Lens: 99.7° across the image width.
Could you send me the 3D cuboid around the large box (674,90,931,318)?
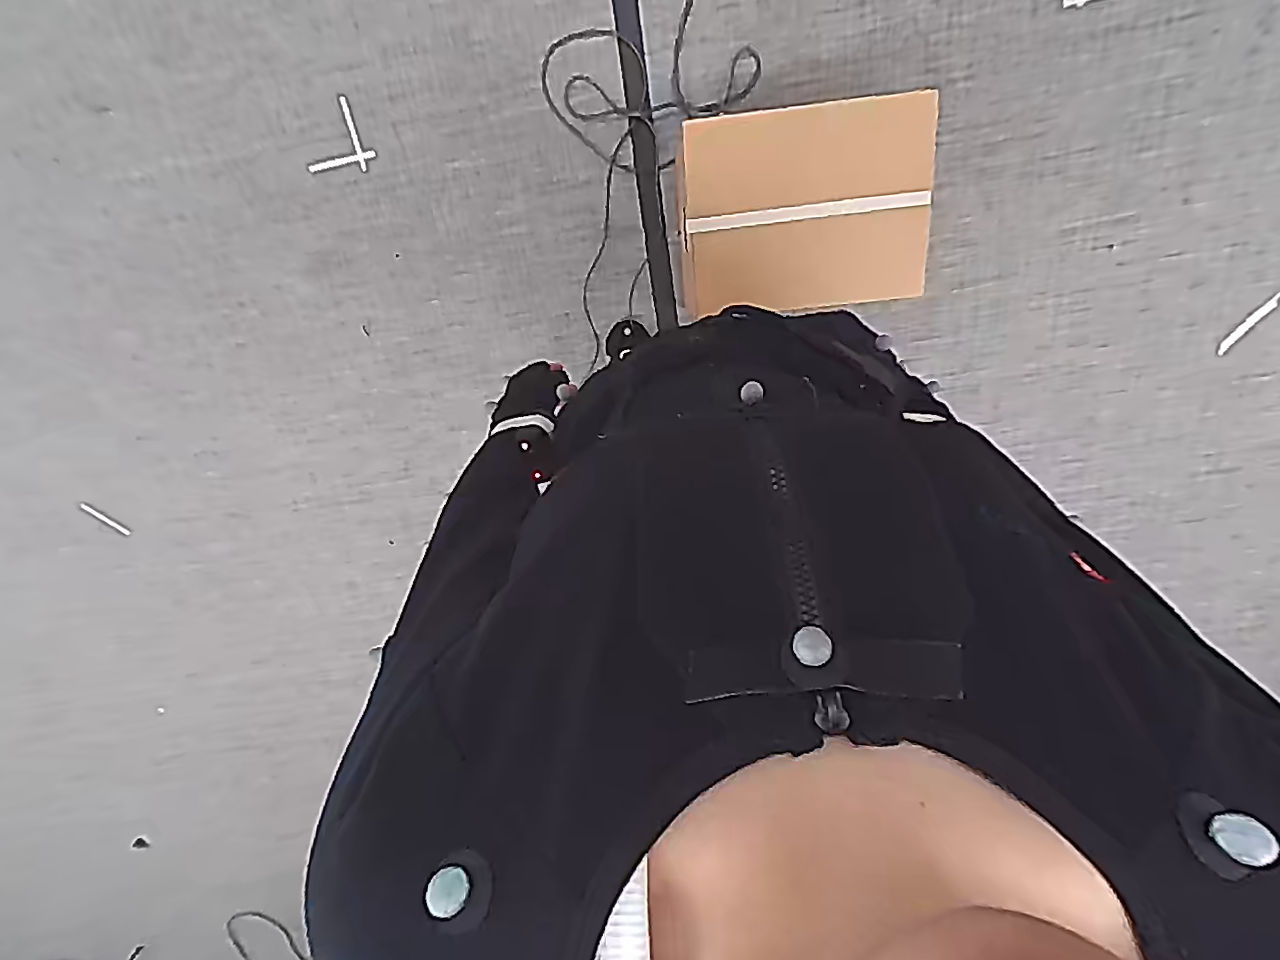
[{"bbox_3d":[0.284,-0.509,1.059,0.408,0.320,0.320,-5,112,3],"label":"large box"}]
